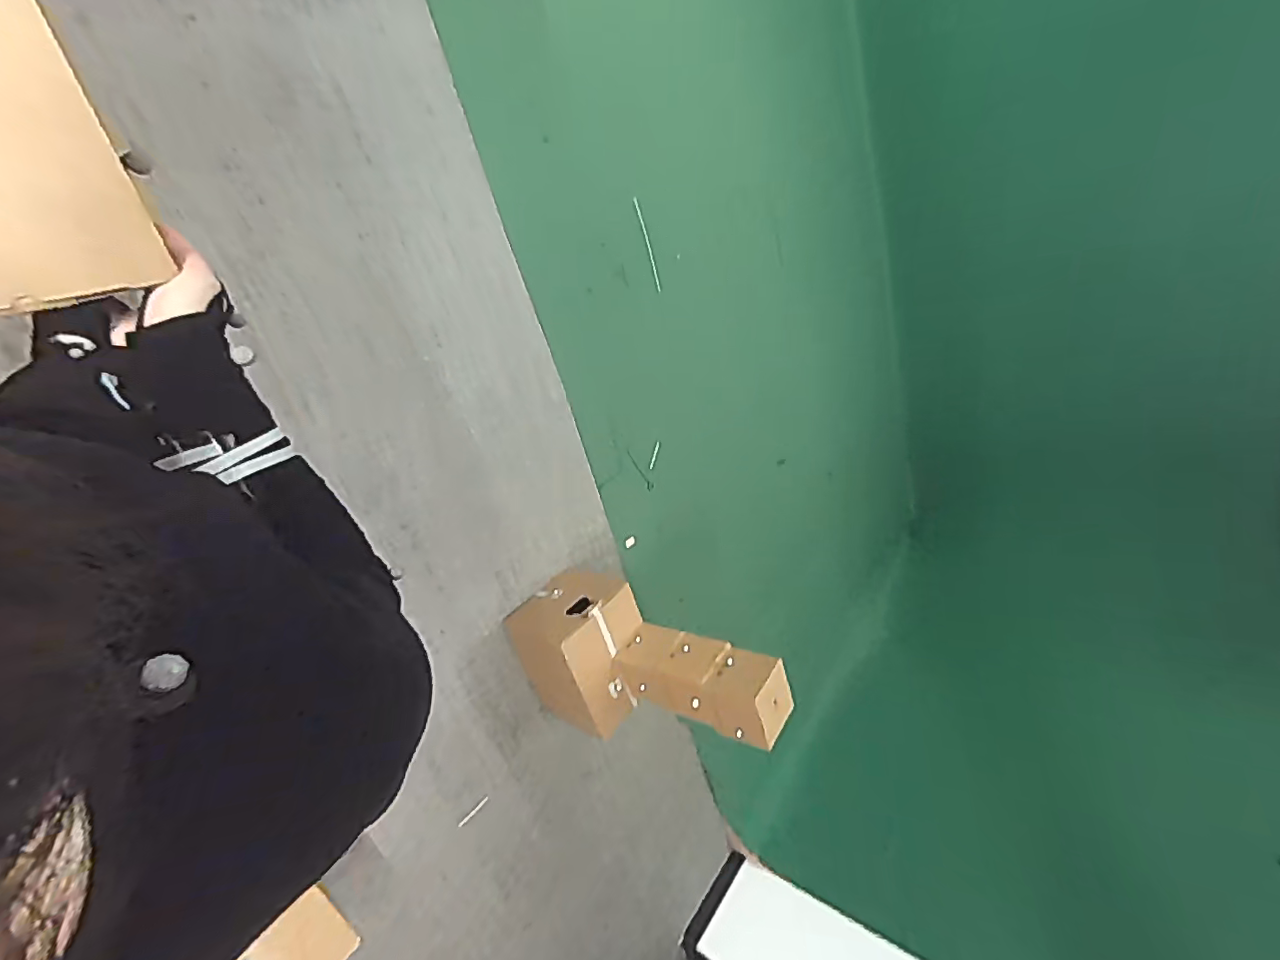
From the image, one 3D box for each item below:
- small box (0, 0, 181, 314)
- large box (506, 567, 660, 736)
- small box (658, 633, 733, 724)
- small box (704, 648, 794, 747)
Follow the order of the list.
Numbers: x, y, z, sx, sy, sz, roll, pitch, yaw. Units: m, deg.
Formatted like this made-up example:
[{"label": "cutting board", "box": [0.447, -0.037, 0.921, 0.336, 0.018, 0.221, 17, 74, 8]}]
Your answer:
[{"label": "small box", "box": [-0.445, -0.219, 0.356, 0.168, 0.176, 0.179, -27, 131, -27]}, {"label": "large box", "box": [-0.182, 0.556, 1.819, 0.320, 0.320, 0.408, -37, 118, -39]}, {"label": "small box", "box": [0.182, 0.583, 1.611, 0.168, 0.176, 0.179, -39, 118, -41]}, {"label": "small box", "box": [0.302, 0.594, 1.502, 0.168, 0.176, 0.179, -37, 116, -43]}]
